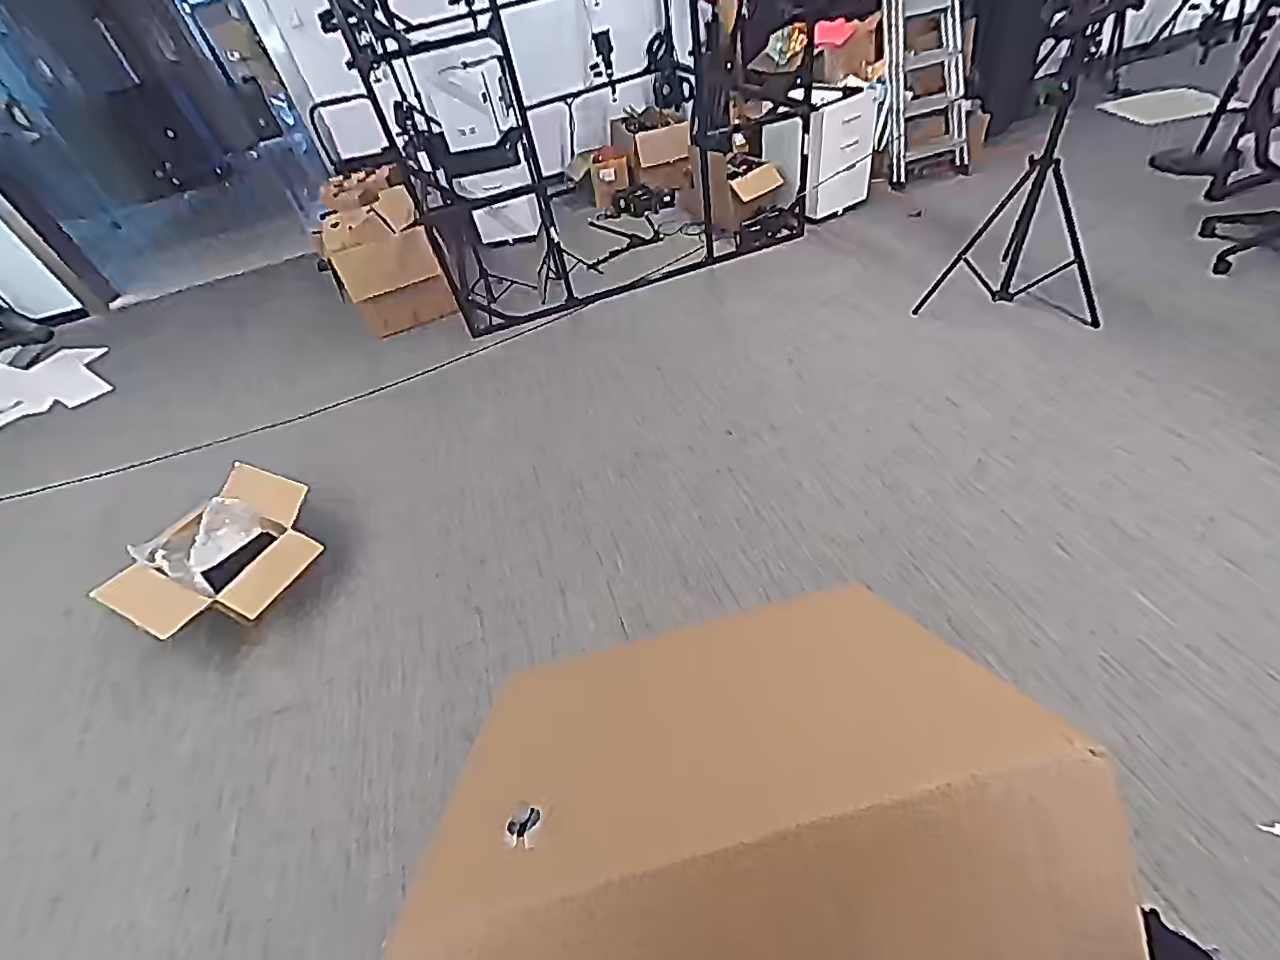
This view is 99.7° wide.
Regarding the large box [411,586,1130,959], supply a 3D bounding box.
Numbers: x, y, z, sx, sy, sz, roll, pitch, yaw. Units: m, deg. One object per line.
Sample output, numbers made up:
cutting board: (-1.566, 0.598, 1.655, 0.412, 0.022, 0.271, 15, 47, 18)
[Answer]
large box: (0.093, 0.325, 0.468, 0.408, 0.320, 0.320, -15, 7, 0)
